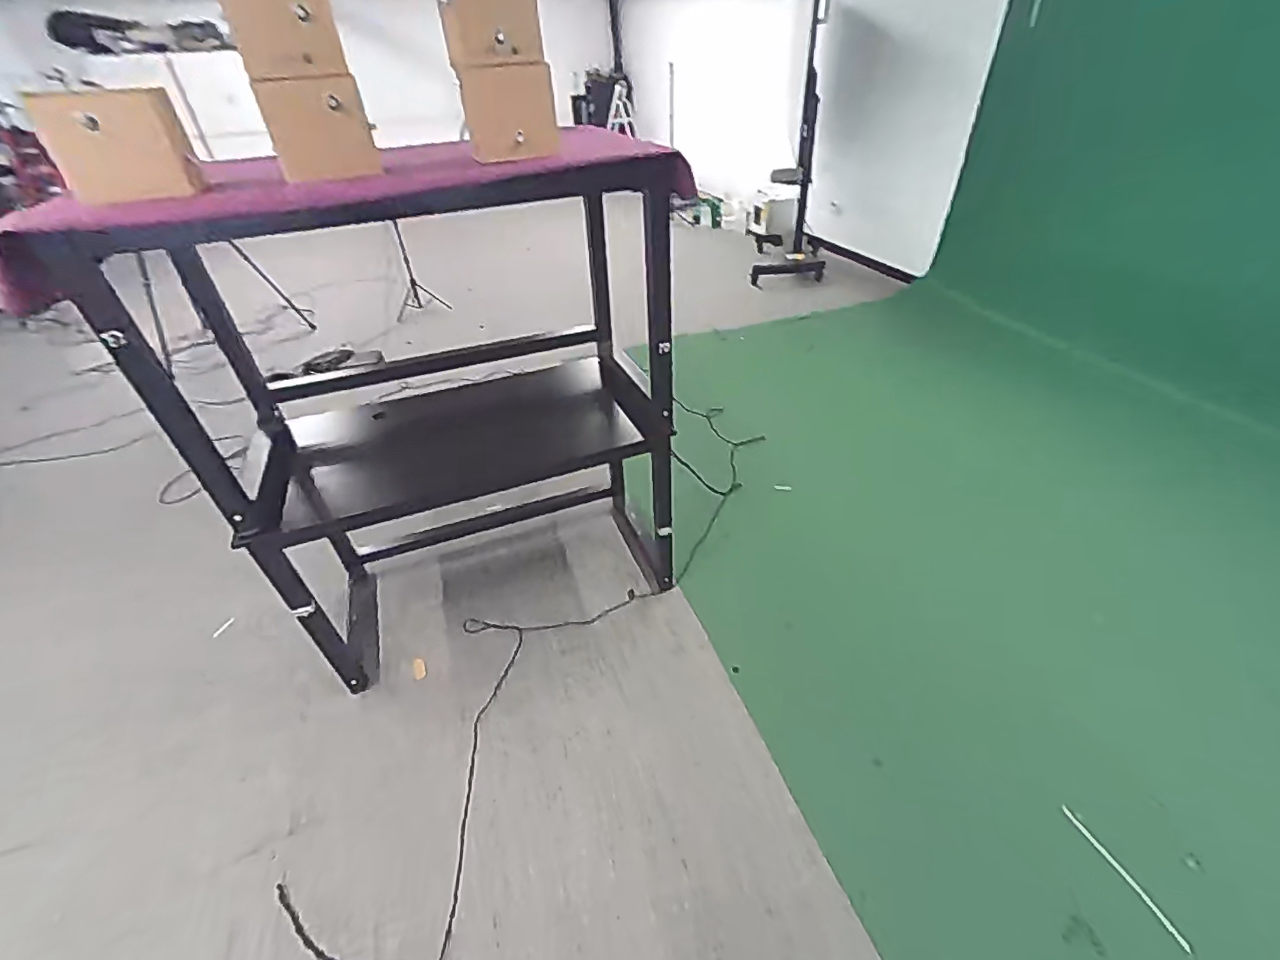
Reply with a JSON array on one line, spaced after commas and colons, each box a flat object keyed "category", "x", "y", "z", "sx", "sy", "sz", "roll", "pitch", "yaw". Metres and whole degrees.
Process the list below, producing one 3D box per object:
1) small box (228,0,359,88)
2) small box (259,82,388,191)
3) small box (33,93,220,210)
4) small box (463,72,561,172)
[{"category": "small box", "x": -0.639, "y": -0.835, "z": 1.008, "sx": 0.168, "sy": 0.176, "sz": 0.179, "roll": -14, "pitch": 38, "yaw": -15}, {"category": "small box", "x": -0.628, "y": -0.701, "z": 1.102, "sx": 0.179, "sy": 0.176, "sz": 0.168, "roll": -15, "pitch": 38, "yaw": -15}, {"category": "small box", "x": -0.933, "y": -0.612, "z": 1.006, "sx": 0.179, "sy": 0.176, "sz": 0.168, "roll": -16, "pitch": 40, "yaw": -18}, {"category": "small box", "x": -0.280, "y": -0.794, "z": 1.197, "sx": 0.179, "sy": 0.176, "sz": 0.168, "roll": -15, "pitch": 37, "yaw": -15}]
